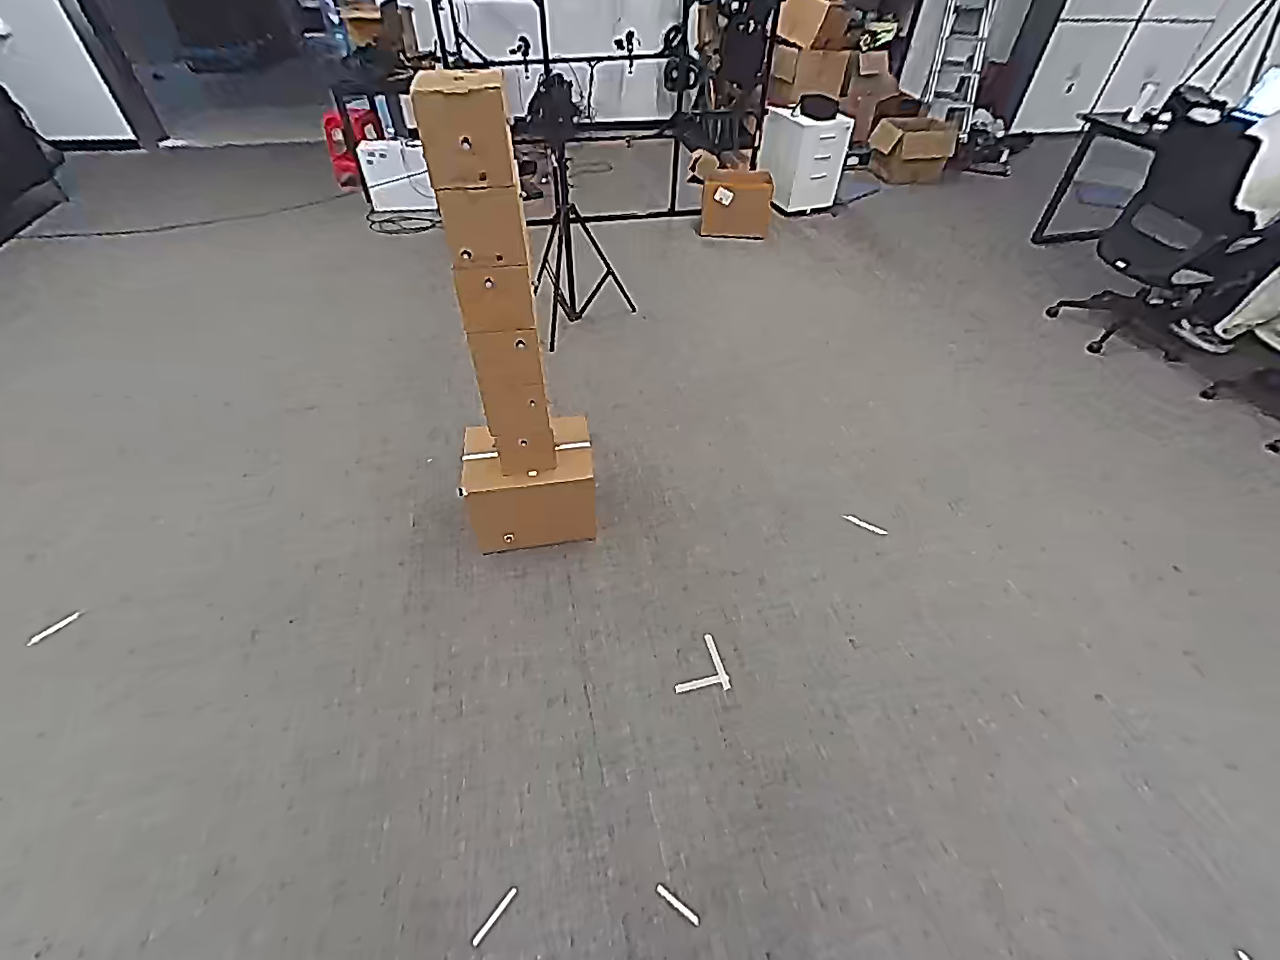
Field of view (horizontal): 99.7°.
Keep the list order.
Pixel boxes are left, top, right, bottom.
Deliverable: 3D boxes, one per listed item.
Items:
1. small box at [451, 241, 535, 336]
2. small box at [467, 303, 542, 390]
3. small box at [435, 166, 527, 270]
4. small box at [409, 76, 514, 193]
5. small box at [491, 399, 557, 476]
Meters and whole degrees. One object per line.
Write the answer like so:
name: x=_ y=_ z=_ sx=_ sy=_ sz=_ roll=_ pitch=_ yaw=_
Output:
small box: x=-0.354 y=-0.472 z=1.337 sx=0.179 sy=0.176 sz=0.168 roll=-6 pitch=47 yaw=-7
small box: x=-0.357 y=-0.358 z=1.453 sx=0.179 sy=0.176 sz=0.168 roll=-6 pitch=46 yaw=-7
small box: x=-0.349 y=-0.587 z=1.220 sx=0.168 sy=0.176 sz=0.179 roll=-6 pitch=46 yaw=-7
small box: x=-0.353 y=-0.699 z=1.100 sx=0.168 sy=0.176 sz=0.179 roll=-7 pitch=48 yaw=-8
small box: x=-0.359 y=-0.128 z=1.687 sx=0.179 sy=0.176 sz=0.168 roll=-8 pitch=47 yaw=-11
